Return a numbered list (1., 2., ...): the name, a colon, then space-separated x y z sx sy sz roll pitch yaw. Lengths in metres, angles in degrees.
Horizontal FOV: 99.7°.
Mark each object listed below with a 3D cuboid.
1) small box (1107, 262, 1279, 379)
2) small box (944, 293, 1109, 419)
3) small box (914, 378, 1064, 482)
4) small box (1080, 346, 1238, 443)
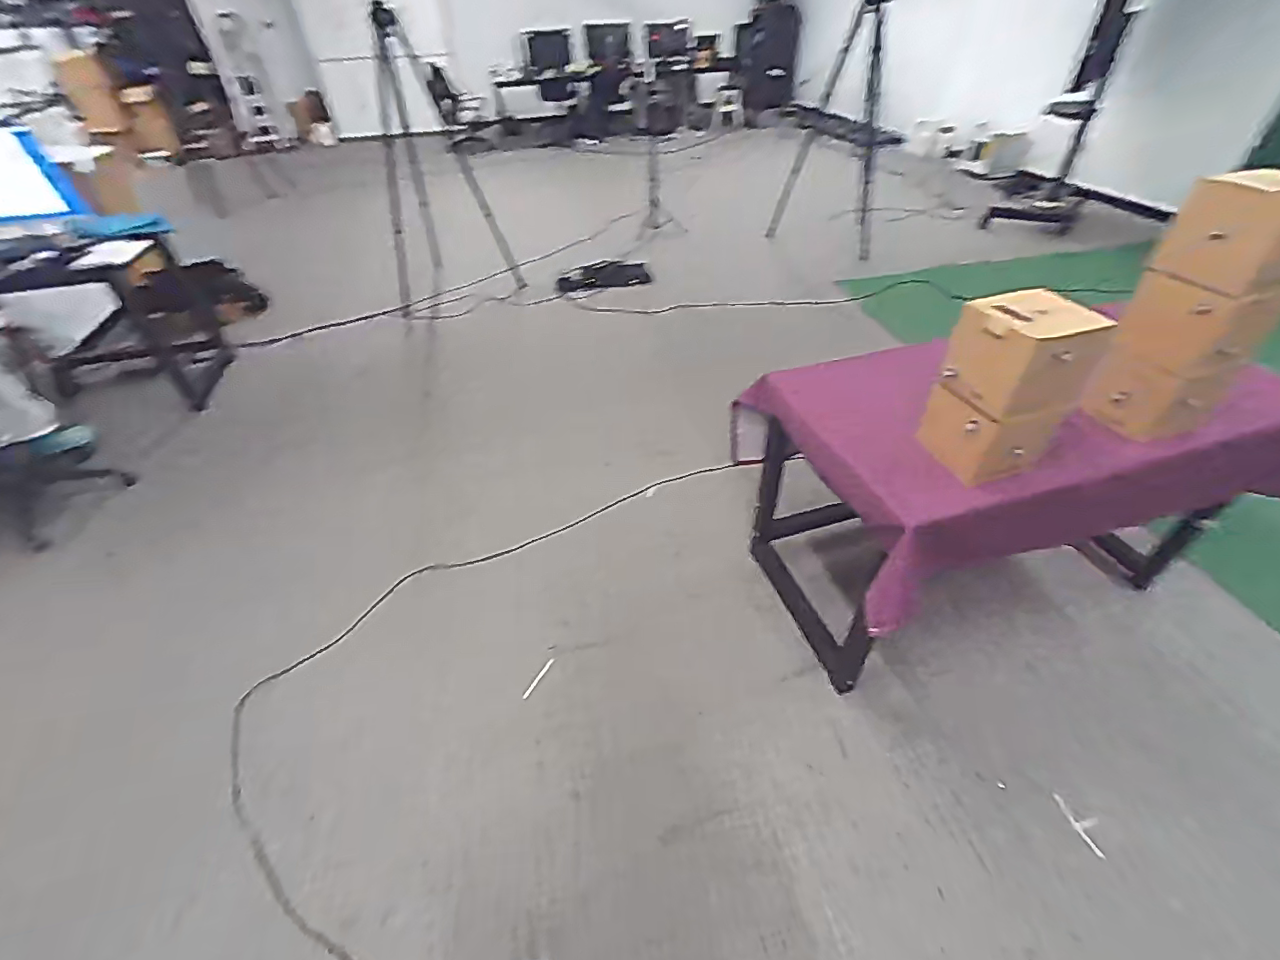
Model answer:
1. small box: 1.140 -0.331 1.120 0.168 0.176 0.179 -13 43 -11
2. small box: 0.715 -0.235 1.030 0.179 0.176 0.168 -13 43 -12
3. small box: 0.722 -0.112 1.140 0.168 0.176 0.179 -13 42 -12
4. small box: 1.151 -0.205 1.223 0.179 0.176 0.168 -14 43 -12
